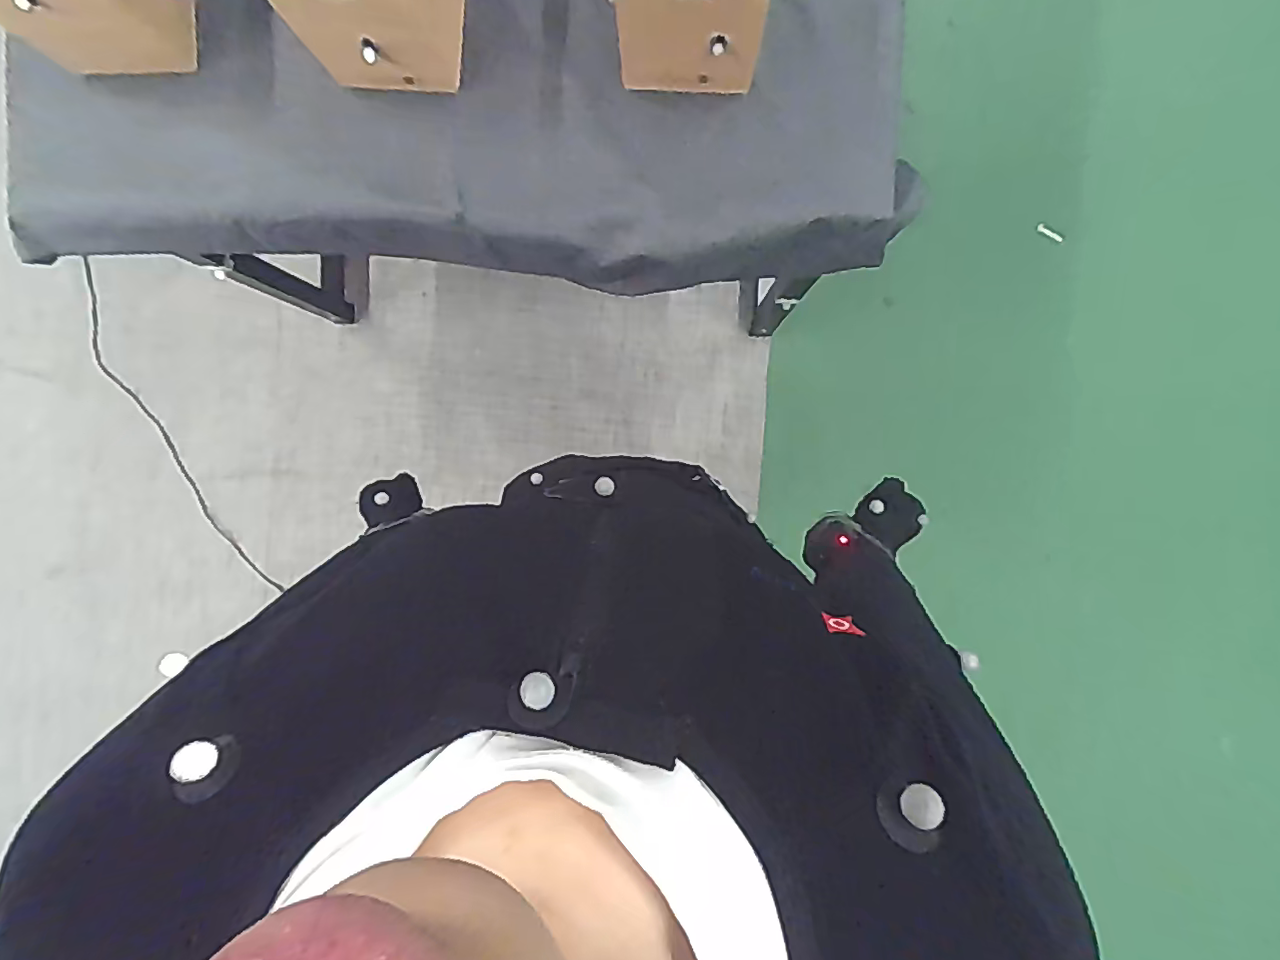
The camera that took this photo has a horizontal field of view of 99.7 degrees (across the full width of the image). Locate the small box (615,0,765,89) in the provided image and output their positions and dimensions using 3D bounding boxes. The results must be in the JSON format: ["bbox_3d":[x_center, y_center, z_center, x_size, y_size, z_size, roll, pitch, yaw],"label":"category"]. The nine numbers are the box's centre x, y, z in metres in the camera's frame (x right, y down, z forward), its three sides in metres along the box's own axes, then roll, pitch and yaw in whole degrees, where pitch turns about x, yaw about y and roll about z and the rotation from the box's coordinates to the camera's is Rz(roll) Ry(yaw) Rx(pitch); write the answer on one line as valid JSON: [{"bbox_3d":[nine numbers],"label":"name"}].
[{"bbox_3d":[0.063,-0.598,0.631,0.168,0.176,0.179,4,91,1],"label":"small box"}]

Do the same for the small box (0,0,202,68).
[{"bbox_3d":[-0.685,-0.641,0.656,0.179,0.176,0.168,0,92,1],"label":"small box"}]

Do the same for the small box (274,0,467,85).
[{"bbox_3d":[-0.316,-0.613,0.644,0.168,0.176,0.179,4,93,2],"label":"small box"}]
